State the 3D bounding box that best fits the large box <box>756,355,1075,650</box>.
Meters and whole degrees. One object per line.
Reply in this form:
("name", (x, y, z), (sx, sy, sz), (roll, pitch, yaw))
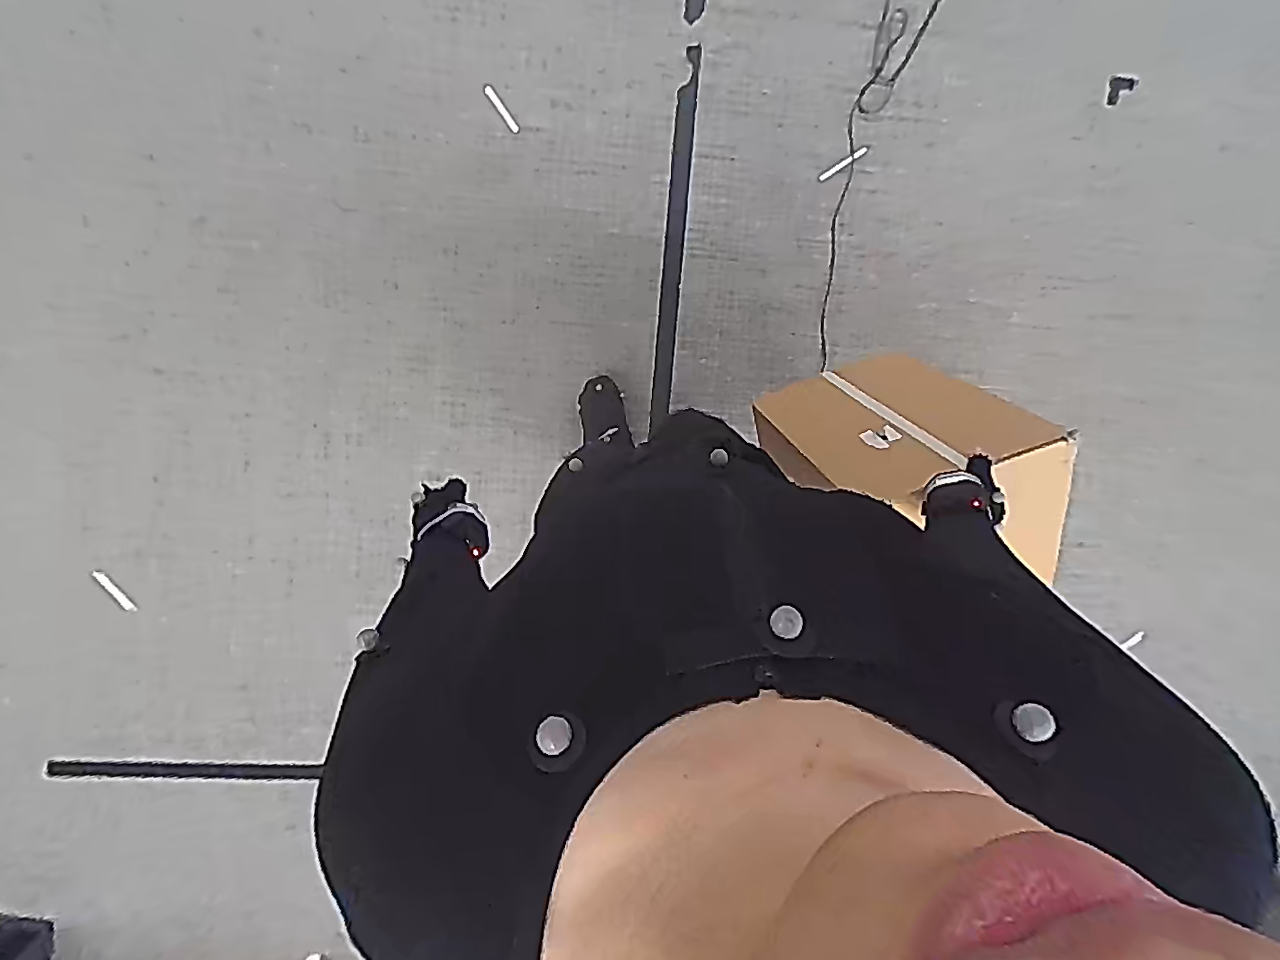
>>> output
("large box", (0.448, 0.019, 0.979), (0.320, 0.408, 0.320), (-20, 123, -2))
